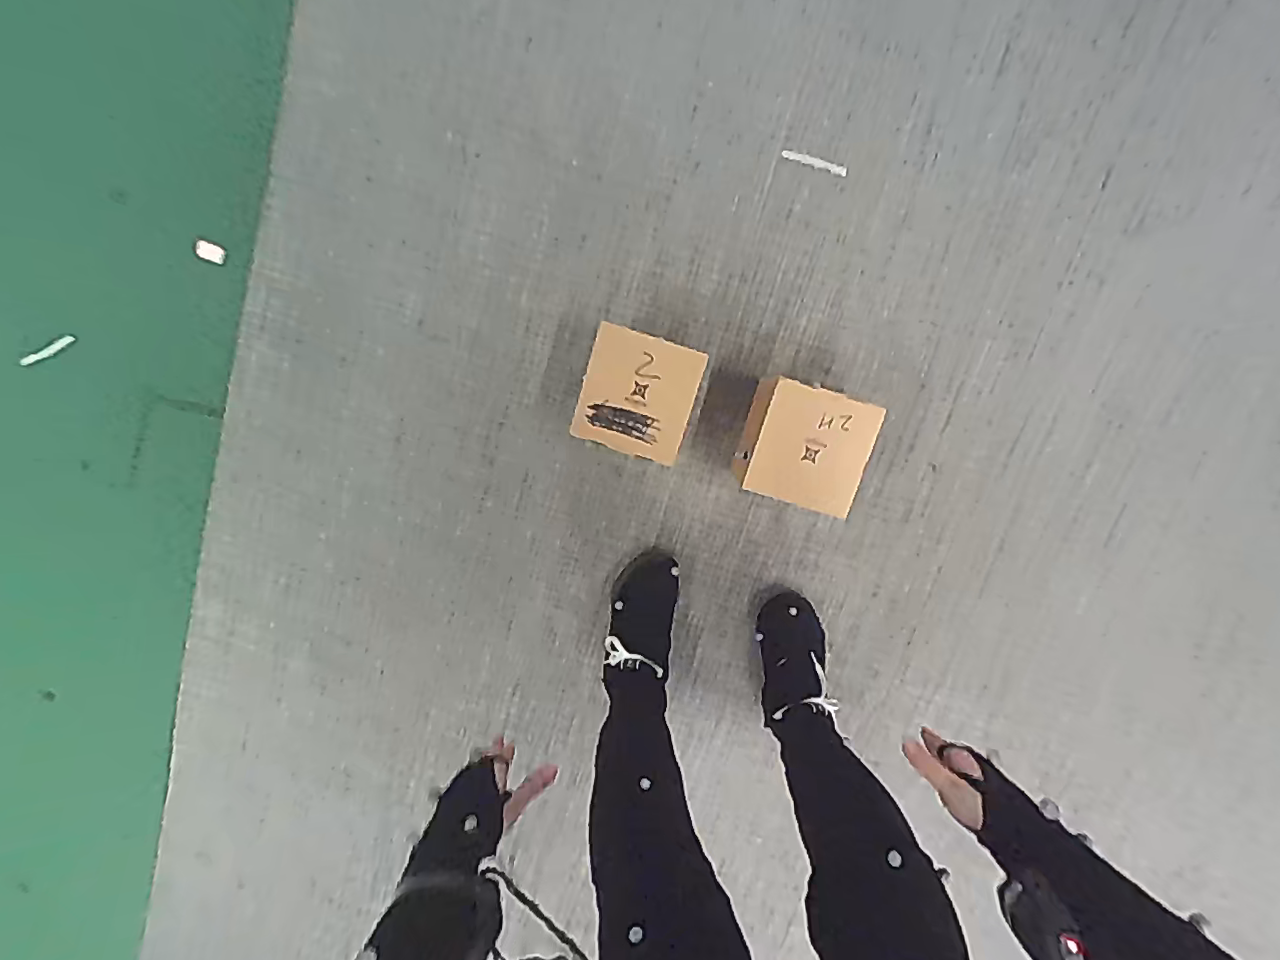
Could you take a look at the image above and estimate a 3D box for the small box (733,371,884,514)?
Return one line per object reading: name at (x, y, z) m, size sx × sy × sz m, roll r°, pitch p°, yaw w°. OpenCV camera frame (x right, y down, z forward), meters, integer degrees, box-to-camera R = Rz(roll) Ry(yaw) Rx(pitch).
small box at (0.257, -0.067, 0.876) m, size 0.168 × 0.176 × 0.179 m, roll 17°, pitch 100°, yaw -1°
